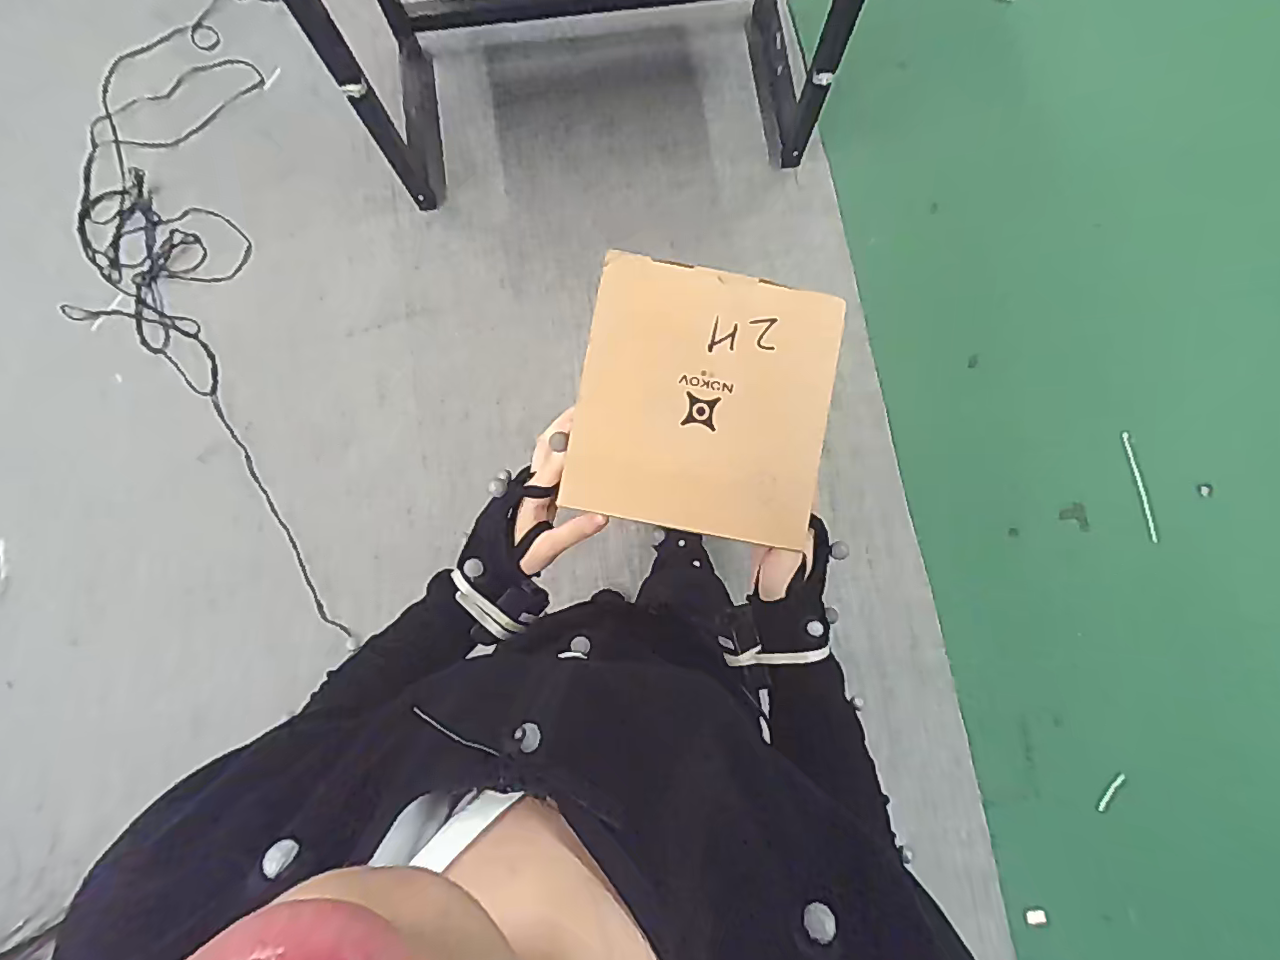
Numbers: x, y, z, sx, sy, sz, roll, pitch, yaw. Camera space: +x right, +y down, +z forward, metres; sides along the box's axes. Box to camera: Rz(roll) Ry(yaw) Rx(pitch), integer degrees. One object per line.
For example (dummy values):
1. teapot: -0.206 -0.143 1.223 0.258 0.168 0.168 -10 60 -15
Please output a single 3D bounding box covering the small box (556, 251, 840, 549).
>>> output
1. small box: 0.038 -0.051 0.443 0.168 0.176 0.179 12 87 -2
